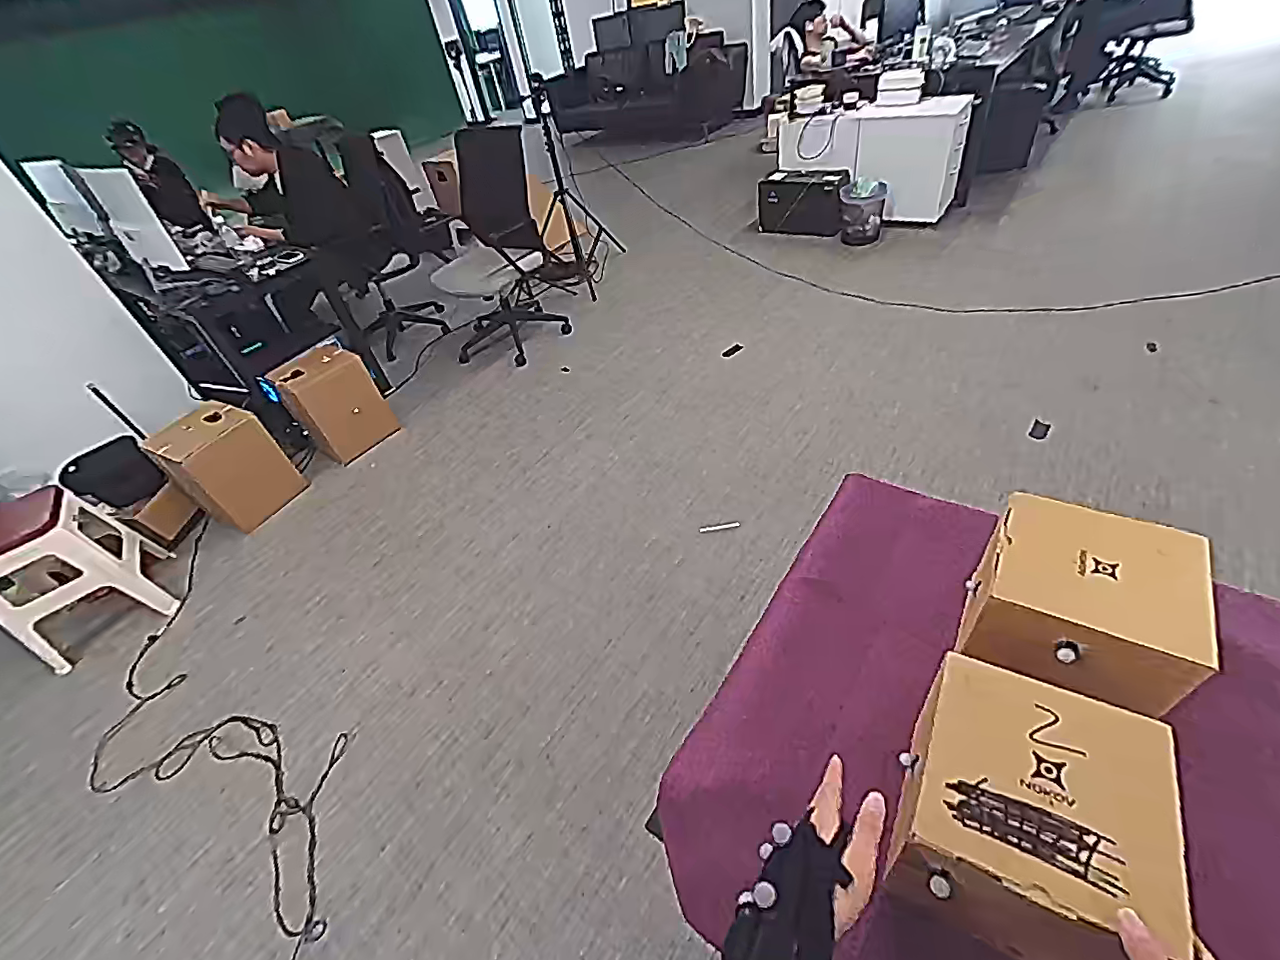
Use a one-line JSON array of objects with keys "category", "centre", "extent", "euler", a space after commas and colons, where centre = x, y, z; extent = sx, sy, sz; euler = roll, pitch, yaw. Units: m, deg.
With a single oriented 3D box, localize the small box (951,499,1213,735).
[{"category": "small box", "centre": [0.479, 0.154, 0.606], "extent": [0.179, 0.176, 0.168], "euler": [18, 50, 29]}]
